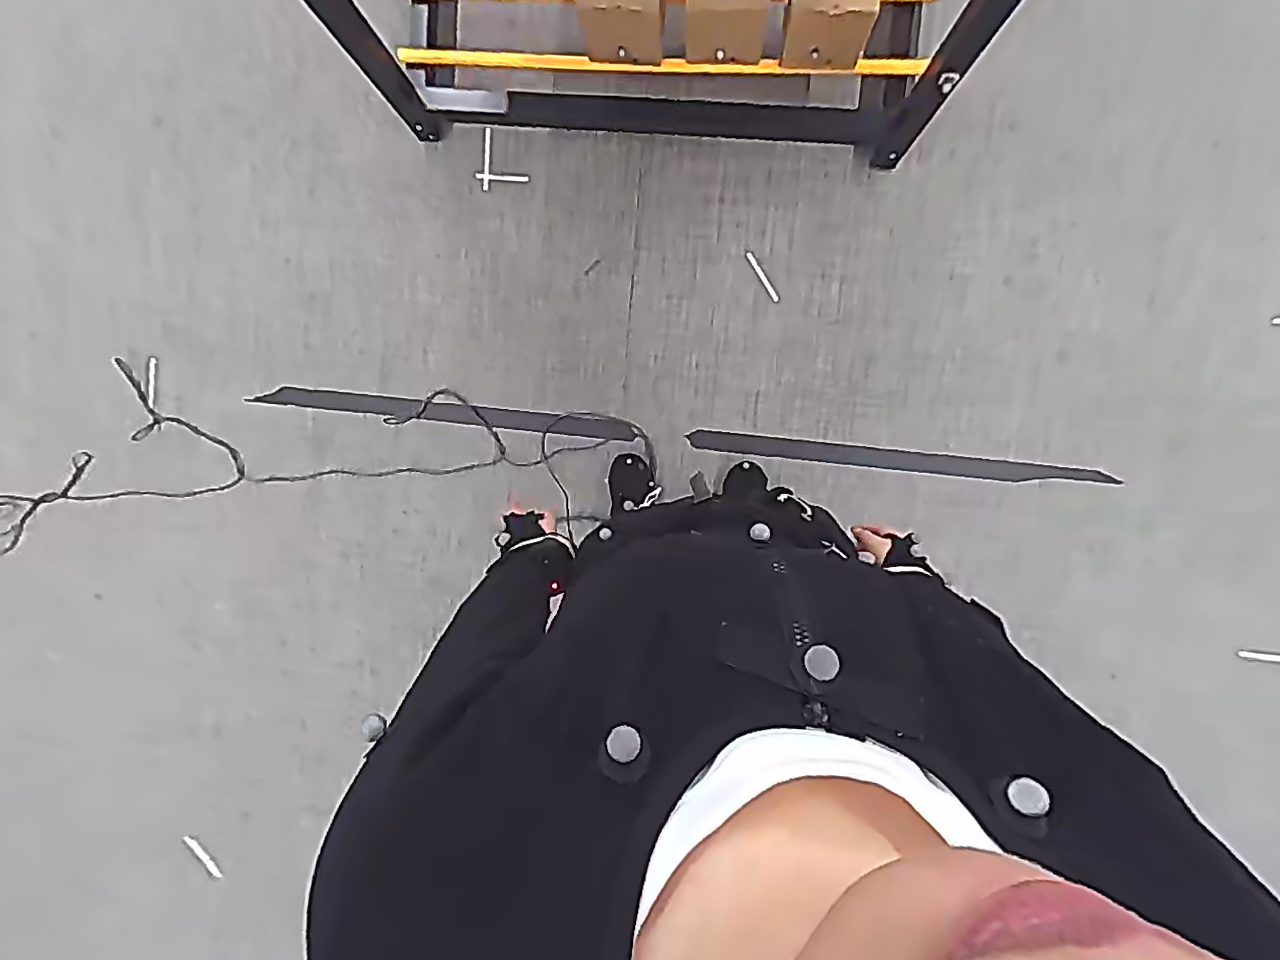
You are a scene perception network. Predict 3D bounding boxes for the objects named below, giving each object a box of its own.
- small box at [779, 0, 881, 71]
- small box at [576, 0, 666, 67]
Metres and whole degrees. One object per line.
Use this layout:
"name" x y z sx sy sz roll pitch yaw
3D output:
"small box" 0.386 -0.986 1.104 0.168 0.176 0.179 4 95 4
"small box" -0.032 -1.018 1.132 0.168 0.176 0.179 6 96 3
